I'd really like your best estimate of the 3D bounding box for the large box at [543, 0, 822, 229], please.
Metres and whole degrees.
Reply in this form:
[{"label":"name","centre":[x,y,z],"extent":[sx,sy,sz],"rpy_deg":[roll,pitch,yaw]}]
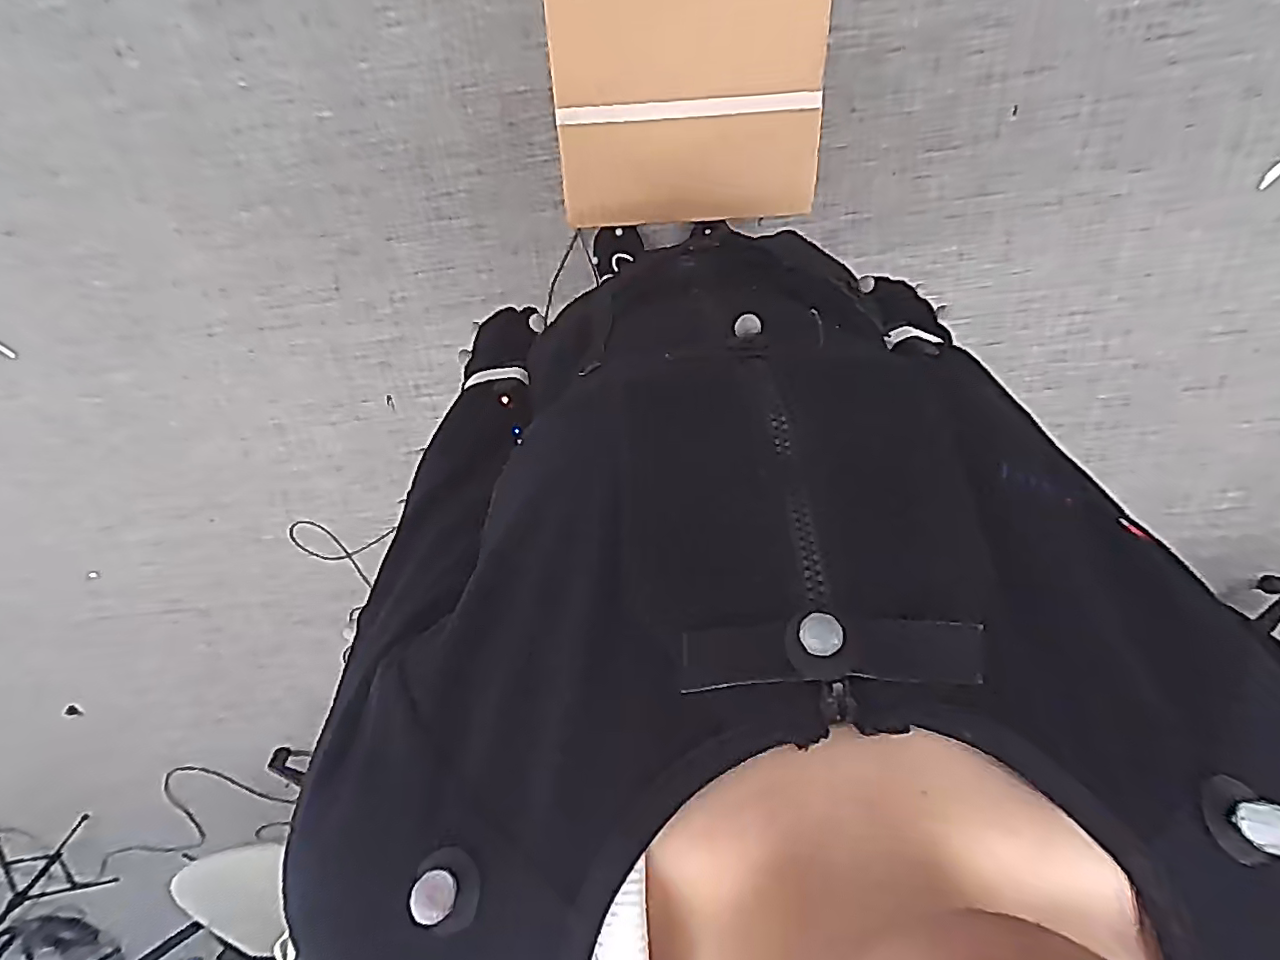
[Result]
[{"label":"large box","centre":[0.067,-0.637,0.955],"extent":[0.408,0.320,0.320],"rpy_deg":[-3,118,0]}]
